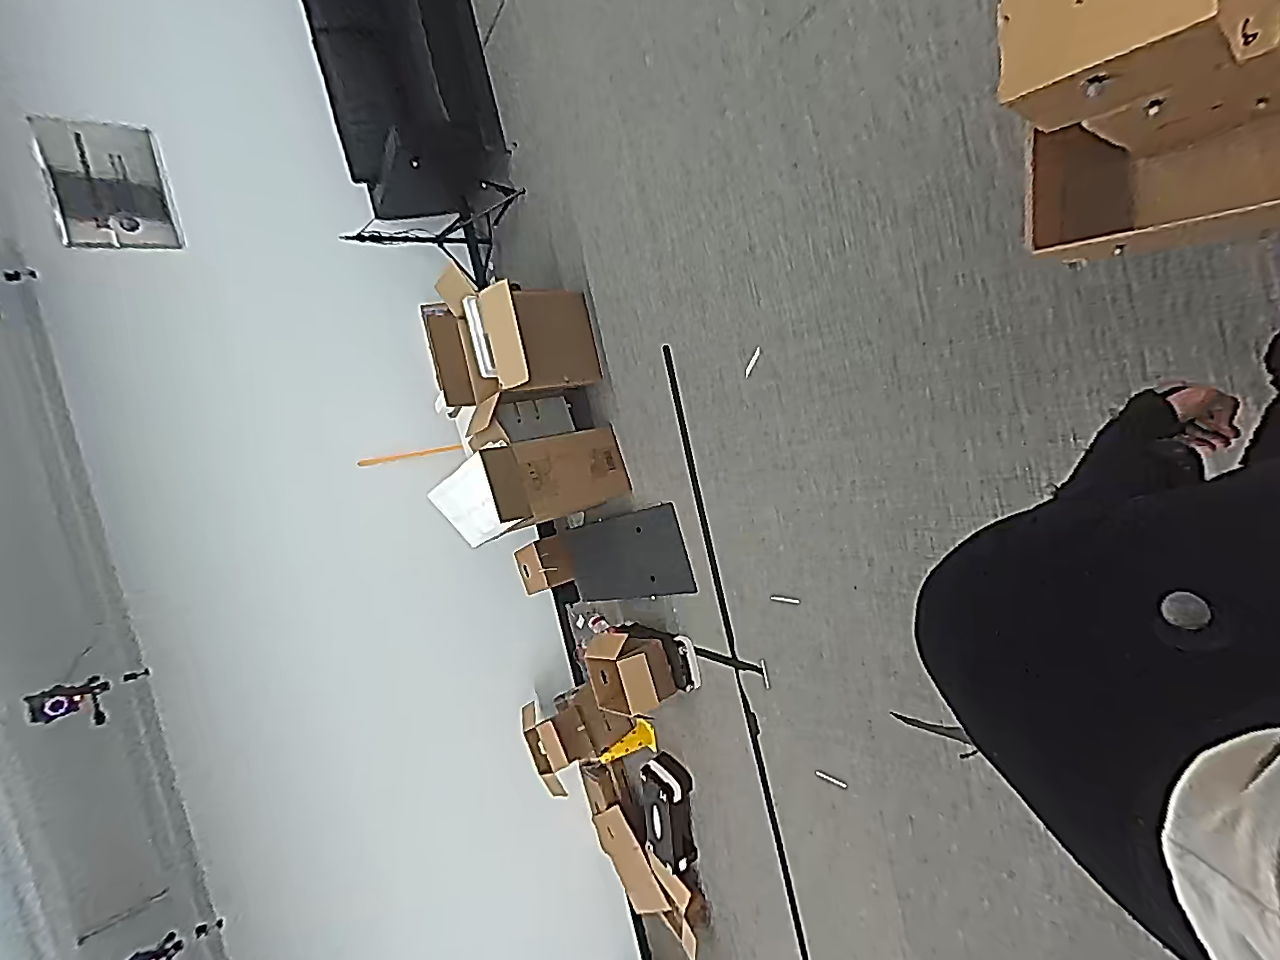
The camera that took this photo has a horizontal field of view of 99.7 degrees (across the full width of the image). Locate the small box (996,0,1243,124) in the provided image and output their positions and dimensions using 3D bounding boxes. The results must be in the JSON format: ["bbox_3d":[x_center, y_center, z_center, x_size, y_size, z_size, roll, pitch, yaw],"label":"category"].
[{"bbox_3d":[0.510,-0.514,0.576,0.179,0.176,0.168,8,108,53],"label":"small box"}]

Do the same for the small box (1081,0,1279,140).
[{"bbox_3d":[0.654,-0.546,0.649,0.168,0.176,0.179,3,104,54],"label":"small box"}]
